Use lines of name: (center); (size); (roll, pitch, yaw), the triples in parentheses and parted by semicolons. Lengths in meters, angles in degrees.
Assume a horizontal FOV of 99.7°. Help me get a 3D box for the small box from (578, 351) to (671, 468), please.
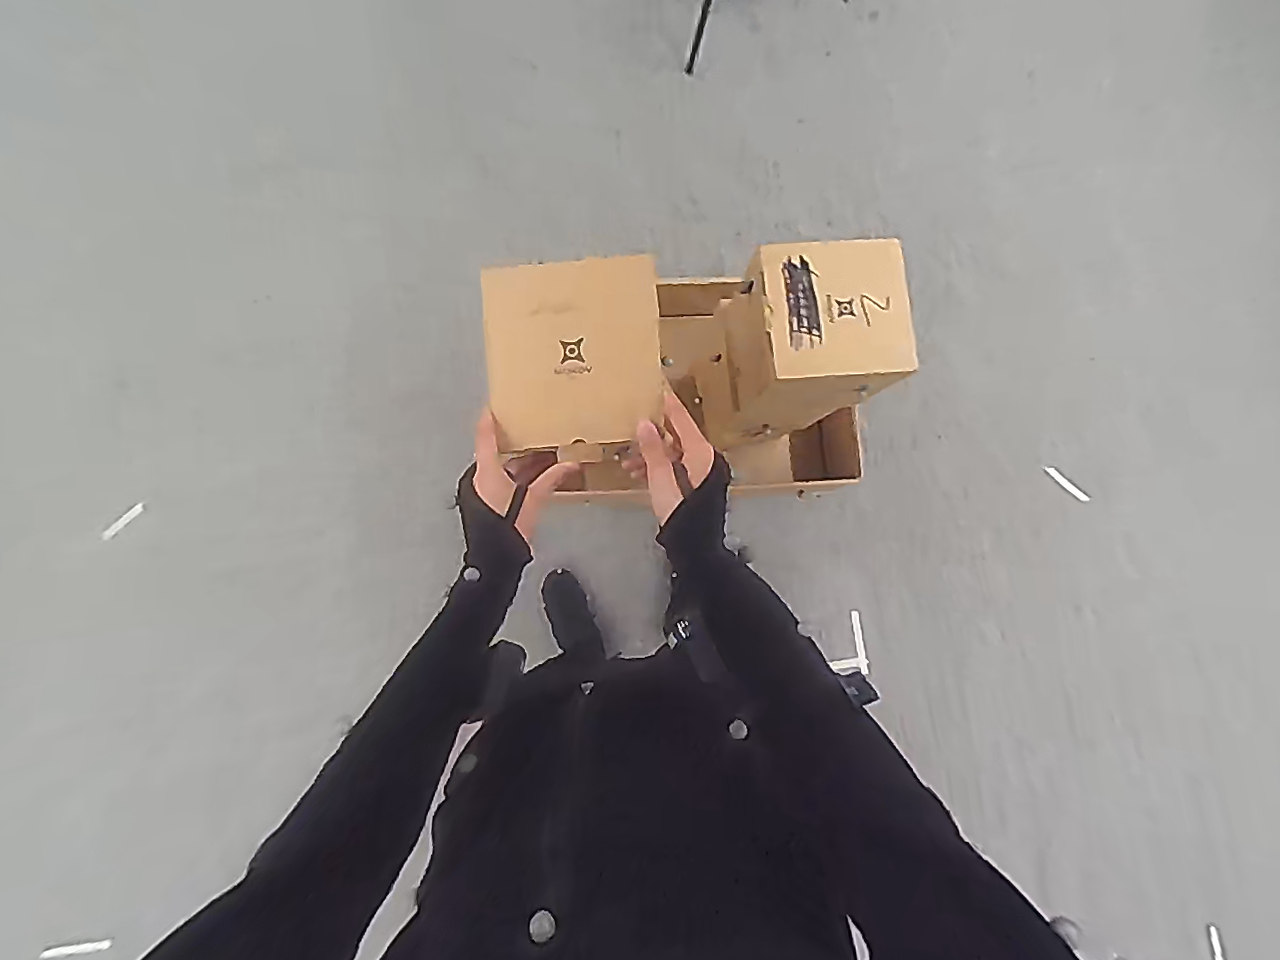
small box: (-0.044, -0.129, 1.016); (0.168, 0.176, 0.179); (-8, 84, -4)

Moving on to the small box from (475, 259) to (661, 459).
small box: (-0.065, -0.117, 0.585); (0.168, 0.176, 0.179); (-4, 92, 3)
